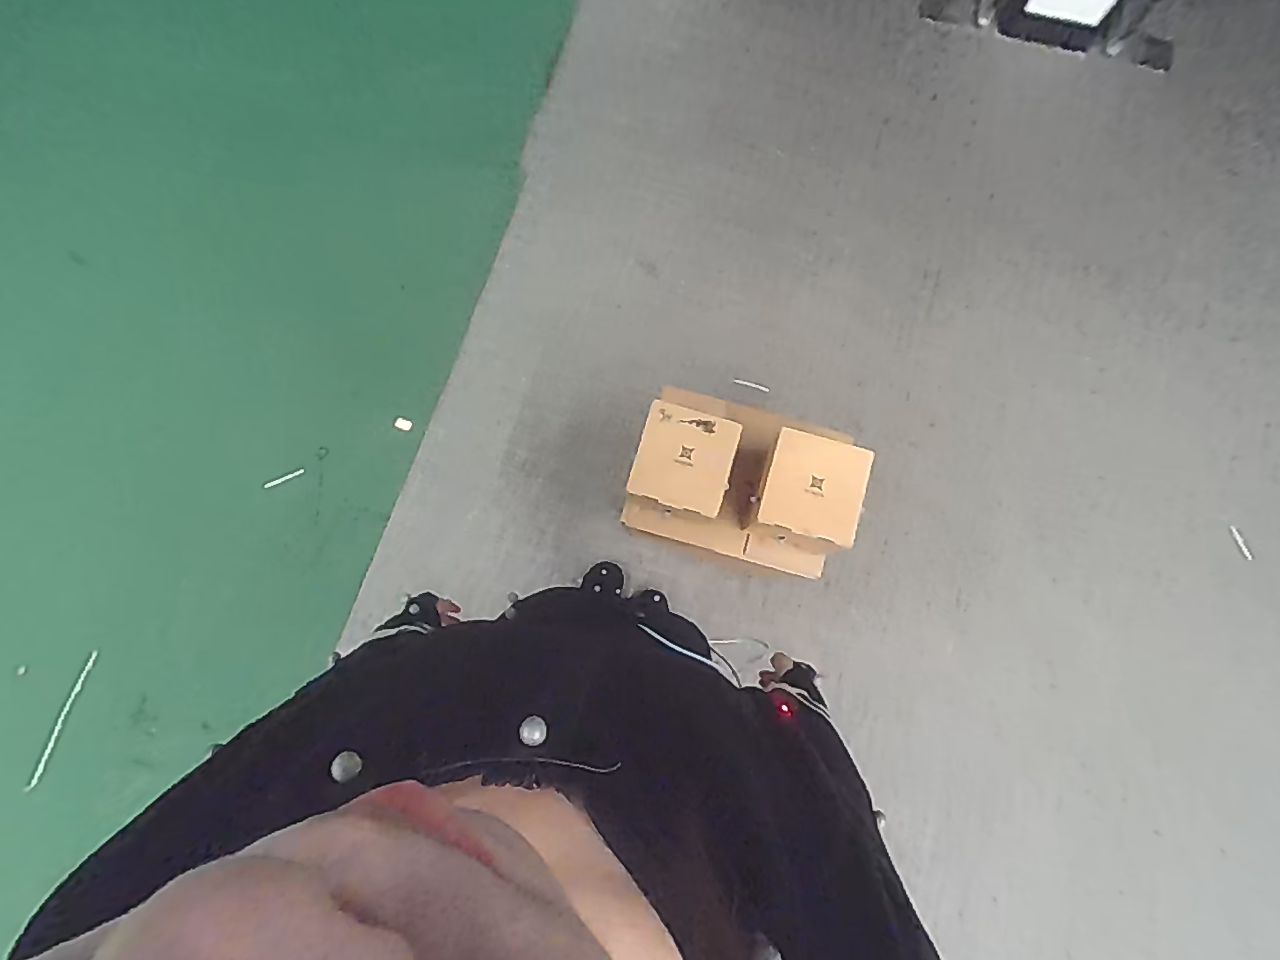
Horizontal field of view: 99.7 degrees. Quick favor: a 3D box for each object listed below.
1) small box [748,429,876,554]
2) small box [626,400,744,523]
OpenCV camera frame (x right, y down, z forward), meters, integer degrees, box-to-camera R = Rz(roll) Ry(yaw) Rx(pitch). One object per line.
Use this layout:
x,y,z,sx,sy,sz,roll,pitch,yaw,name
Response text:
0.306,0.028,0.998,0.168,0.176,0.179,17,81,6,small box
0.080,-0.025,1.013,0.168,0.176,0.179,18,83,3,small box
